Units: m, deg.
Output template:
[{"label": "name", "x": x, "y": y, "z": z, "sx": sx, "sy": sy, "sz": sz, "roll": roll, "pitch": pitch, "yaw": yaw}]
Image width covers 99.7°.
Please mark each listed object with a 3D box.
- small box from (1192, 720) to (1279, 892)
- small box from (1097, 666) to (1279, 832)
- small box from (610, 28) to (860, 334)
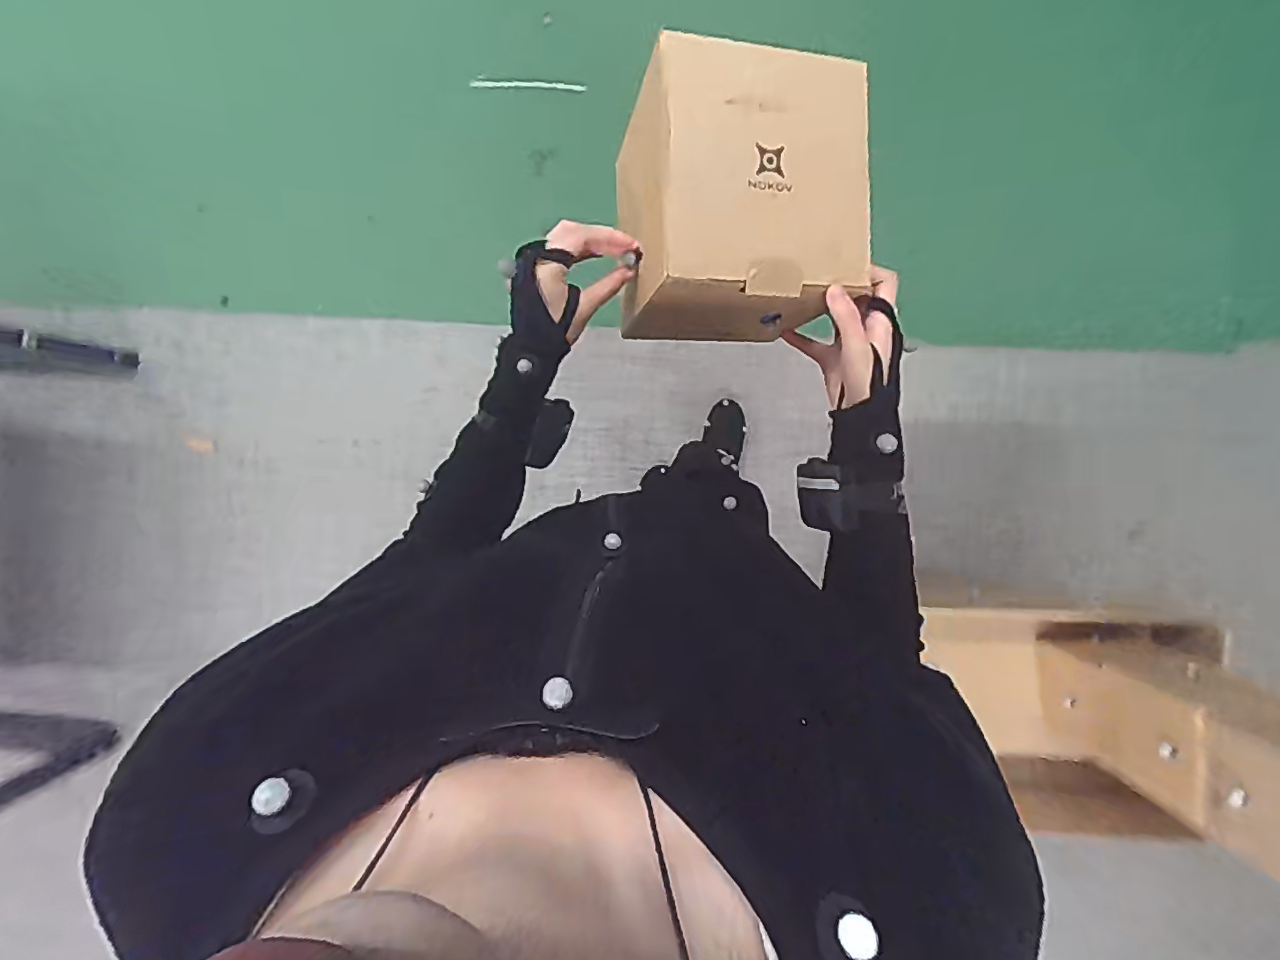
[{"label": "small box", "x": 0.852, "y": 0.413, "z": 0.665, "sx": 0.179, "sy": 0.176, "sz": 0.168, "roll": 0, "pitch": 90, "yaw": 3}, {"label": "small box", "x": 0.850, "y": 0.402, "z": 0.830, "sx": 0.168, "sy": 0.176, "sz": 0.179, "roll": -2, "pitch": 90, "yaw": 3}, {"label": "small box", "x": 0.070, "y": -0.234, "z": 0.476, "sx": 0.168, "sy": 0.176, "sz": 0.179, "roll": -2, "pitch": 90, "yaw": -14}]
